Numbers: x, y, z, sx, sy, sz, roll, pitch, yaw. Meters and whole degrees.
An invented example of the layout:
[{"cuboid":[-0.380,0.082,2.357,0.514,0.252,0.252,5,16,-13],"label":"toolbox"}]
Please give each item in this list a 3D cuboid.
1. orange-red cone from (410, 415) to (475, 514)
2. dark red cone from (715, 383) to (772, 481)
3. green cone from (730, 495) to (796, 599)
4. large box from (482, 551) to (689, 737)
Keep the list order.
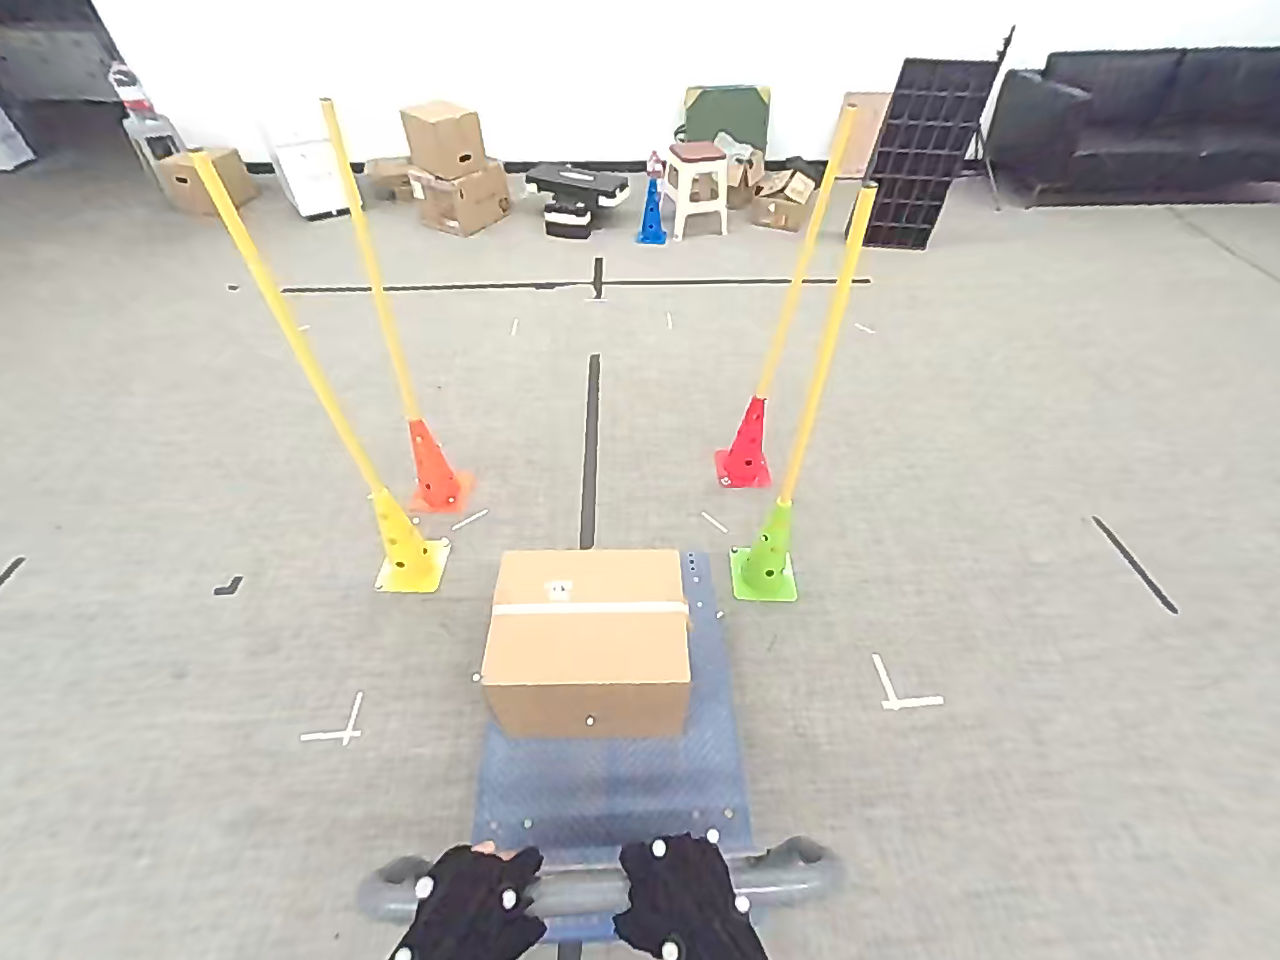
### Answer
[{"cuboid":[-0.722,-0.078,1.875,0.198,0.360,0.199,5,45,2],"label":"orange-red cone"},{"cuboid":[0.404,-0.181,1.962,0.201,0.394,0.202,0,47,-3],"label":"dark red cone"},{"cuboid":[0.404,0.182,1.640,0.202,0.368,0.200,2,46,0],"label":"green cone"},{"cuboid":[-0.106,0.381,1.244,0.408,0.320,0.320,-1,46,0],"label":"large box"}]
